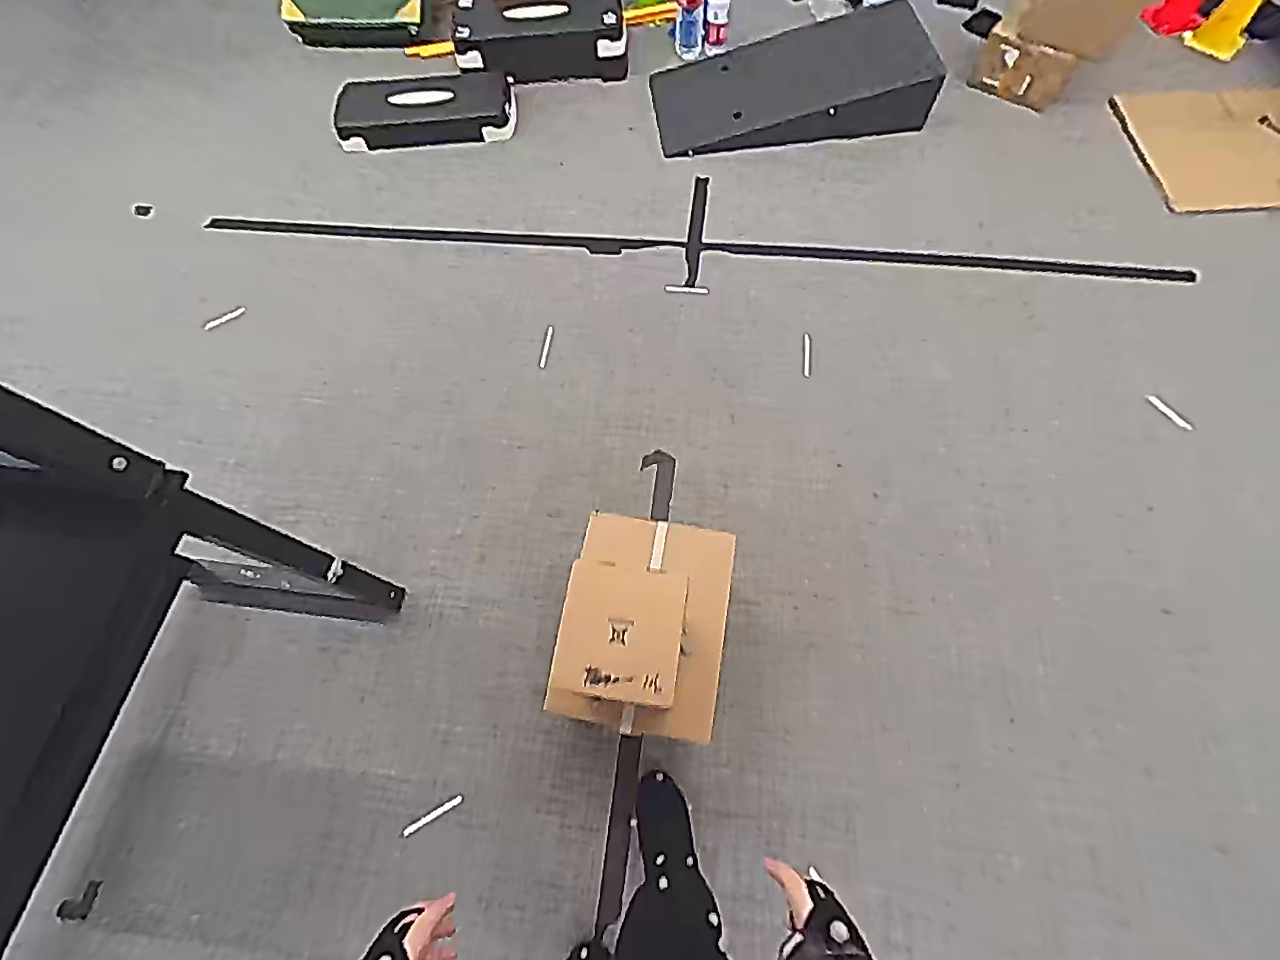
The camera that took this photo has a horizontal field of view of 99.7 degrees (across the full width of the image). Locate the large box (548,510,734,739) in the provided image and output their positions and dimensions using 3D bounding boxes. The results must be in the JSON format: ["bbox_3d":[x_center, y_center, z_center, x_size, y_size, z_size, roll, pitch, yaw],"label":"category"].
[{"bbox_3d":[0.016,0.326,1.193,0.320,0.320,0.408,10,67,5],"label":"large box"}]

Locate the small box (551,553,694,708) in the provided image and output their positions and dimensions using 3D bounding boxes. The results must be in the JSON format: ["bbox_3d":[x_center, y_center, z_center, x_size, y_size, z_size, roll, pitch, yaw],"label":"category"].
[{"bbox_3d":[-0.017,0.226,0.793,0.168,0.176,0.179,8,66,7],"label":"small box"}]
